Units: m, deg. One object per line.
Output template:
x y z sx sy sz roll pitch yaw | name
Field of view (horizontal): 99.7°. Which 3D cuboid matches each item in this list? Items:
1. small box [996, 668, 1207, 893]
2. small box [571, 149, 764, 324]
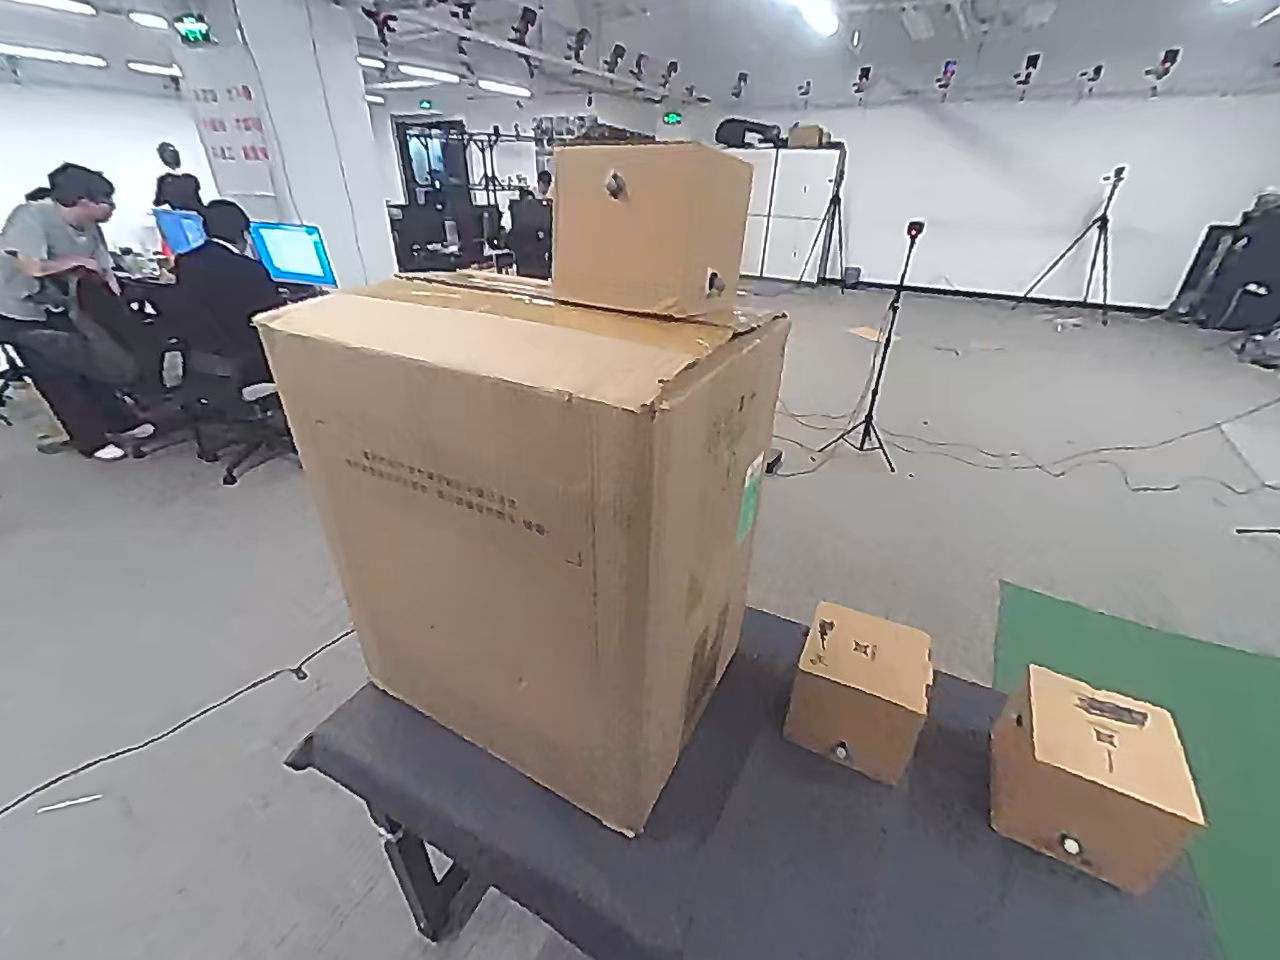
0.612 0.406 0.747 0.168 0.176 0.179 16 33 26 | small box
0.029 -0.288 0.653 0.179 0.176 0.168 18 28 24 | small box
